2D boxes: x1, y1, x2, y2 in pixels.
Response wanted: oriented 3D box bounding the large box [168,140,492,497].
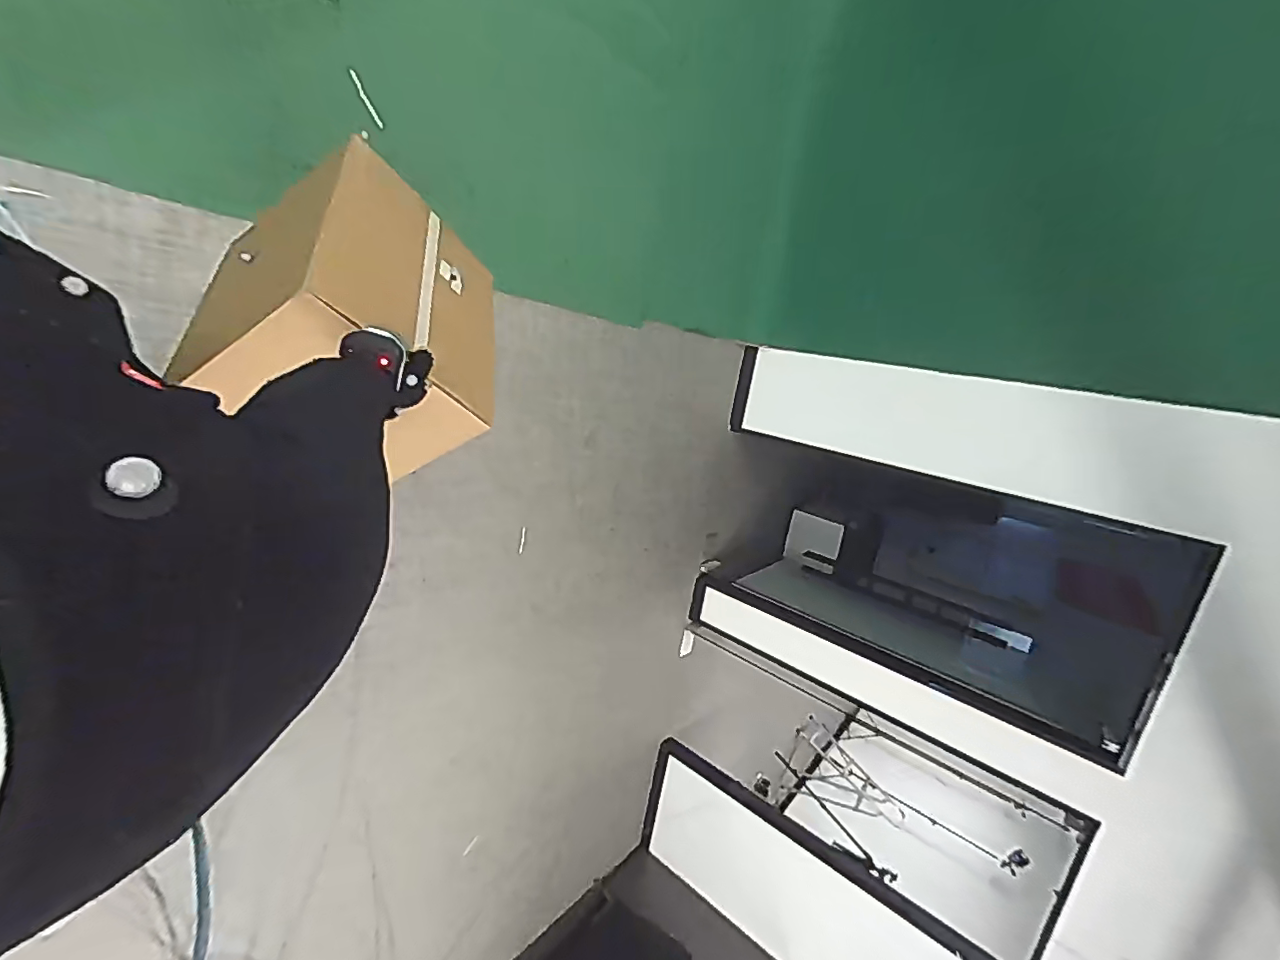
[{"bbox_3d":[-0.470,-0.246,0.893,0.320,0.320,0.408,43,28,-49],"label":"large box"}]
